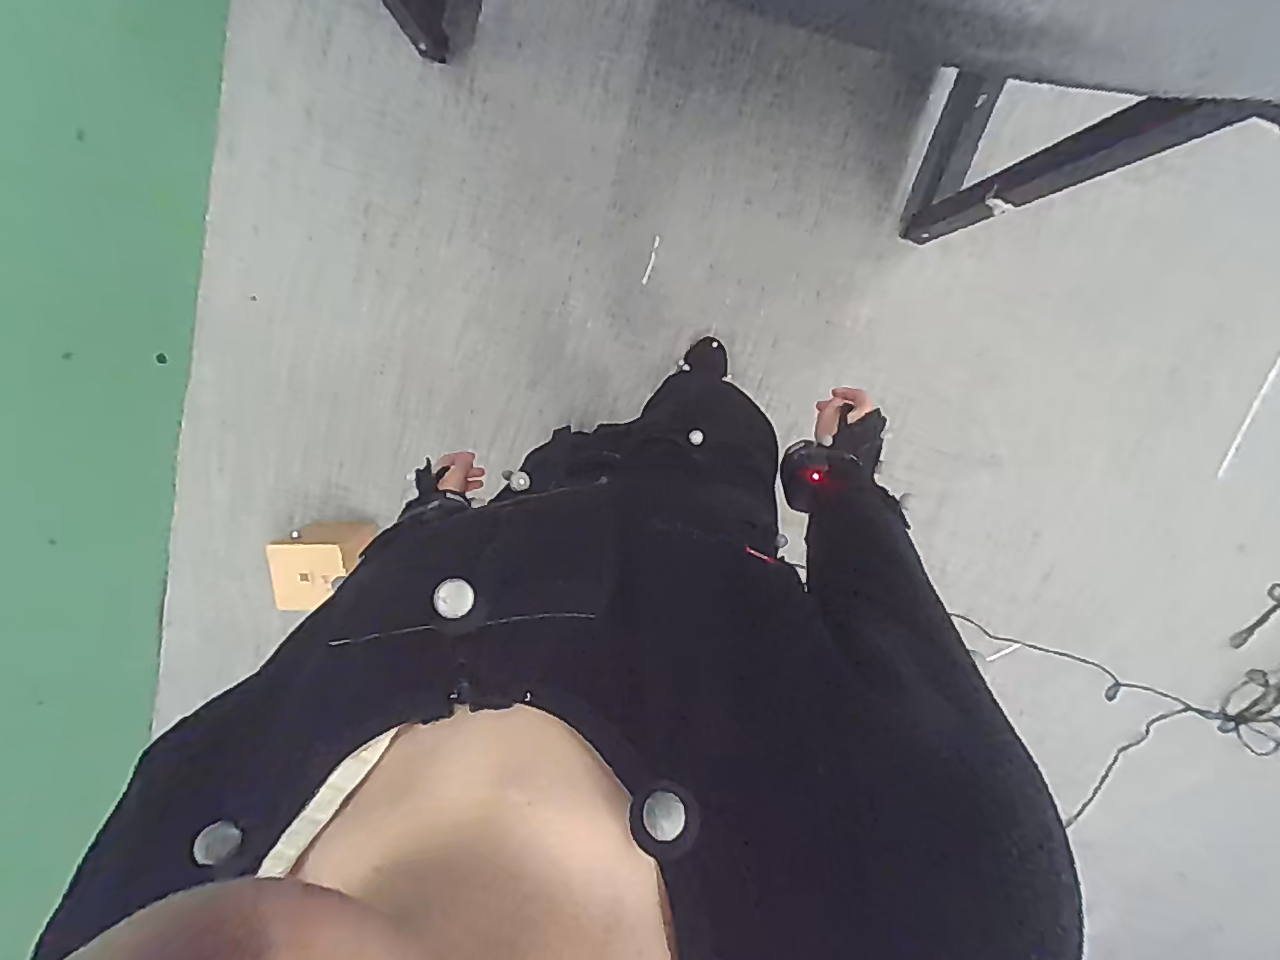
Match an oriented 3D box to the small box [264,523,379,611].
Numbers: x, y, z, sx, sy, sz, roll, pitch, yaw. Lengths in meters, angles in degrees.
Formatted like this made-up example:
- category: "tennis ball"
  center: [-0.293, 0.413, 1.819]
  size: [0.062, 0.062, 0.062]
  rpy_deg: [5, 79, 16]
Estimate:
- category: "small box"
  center: [-0.771, 0.208, 1.327]
  size: [0.179, 0.176, 0.168]
  rpy_deg: [0, 104, 0]
